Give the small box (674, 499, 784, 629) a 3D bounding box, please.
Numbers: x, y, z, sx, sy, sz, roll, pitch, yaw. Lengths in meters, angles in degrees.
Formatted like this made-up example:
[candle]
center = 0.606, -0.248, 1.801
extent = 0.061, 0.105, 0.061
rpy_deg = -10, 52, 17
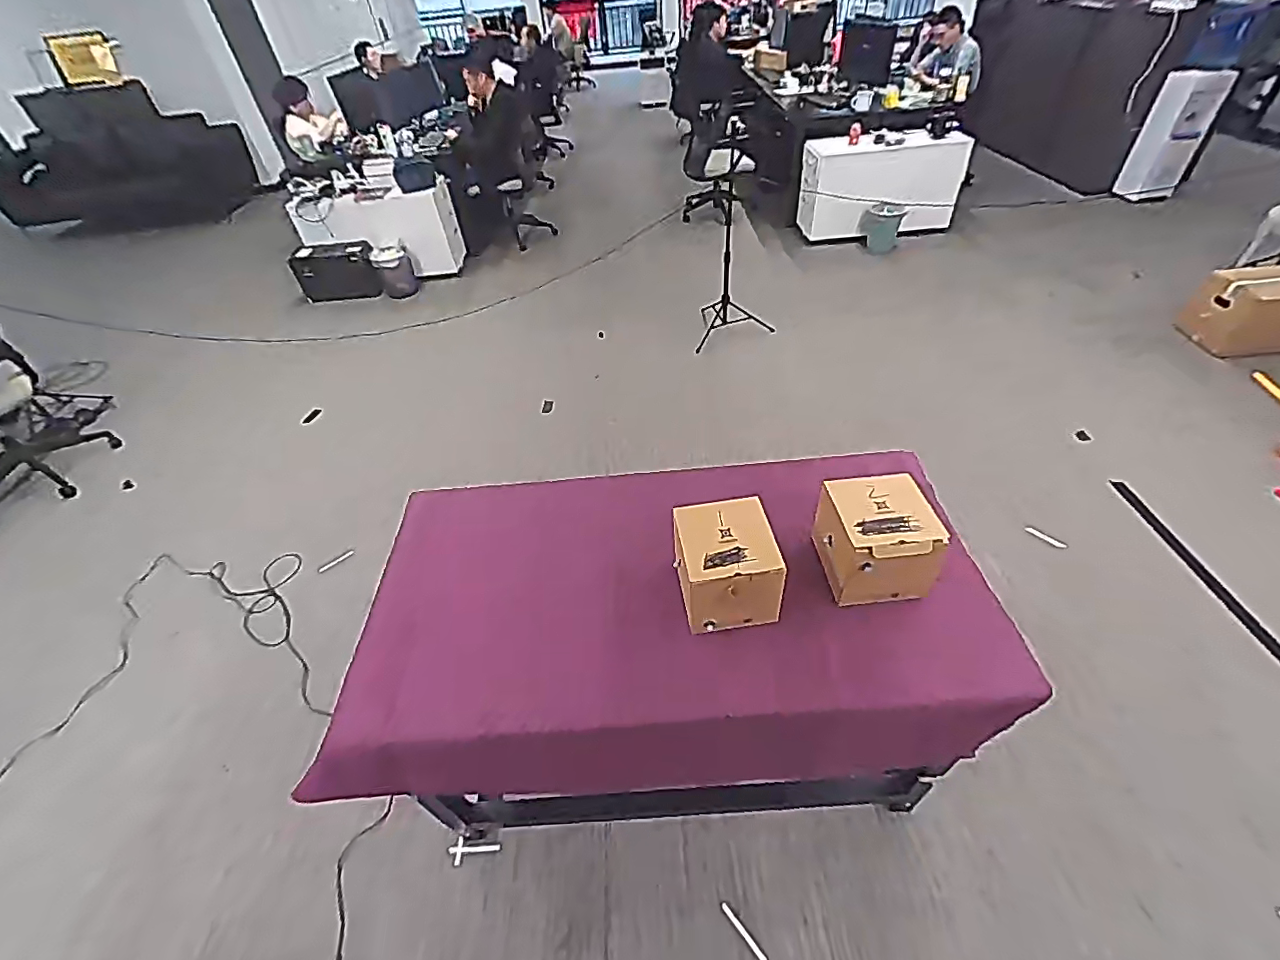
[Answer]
[small box]
center = 0.161, 0.163, 1.014
extent = 0.168, 0.176, 0.179
rpy_deg = -7, 43, -2
